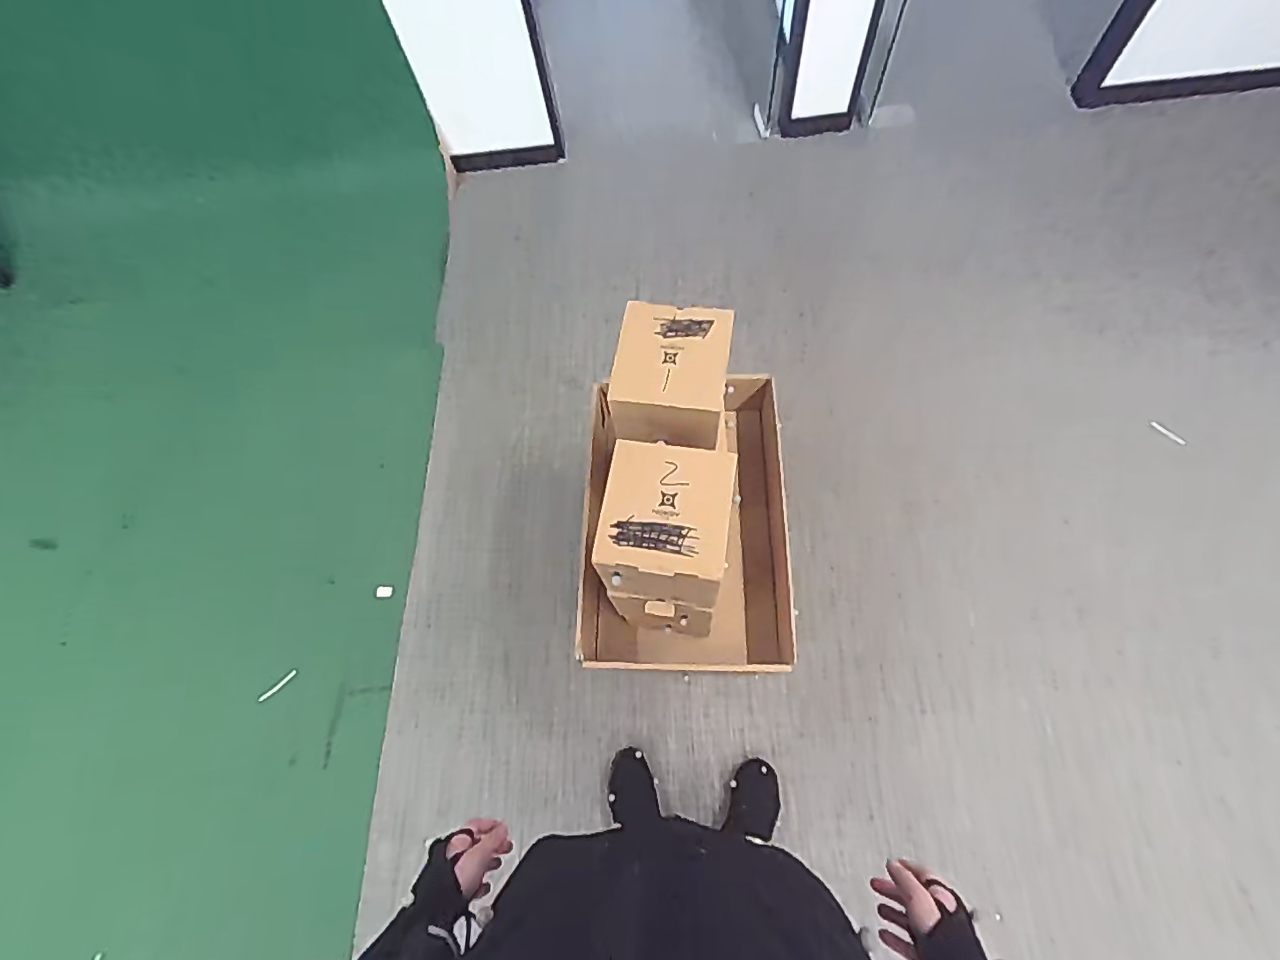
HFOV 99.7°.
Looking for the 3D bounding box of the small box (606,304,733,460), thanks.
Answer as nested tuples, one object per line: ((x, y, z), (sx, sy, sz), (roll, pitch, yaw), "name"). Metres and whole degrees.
((0.050, -0.152, 0.866), (0.168, 0.176, 0.179), (7, 69, 8), "small box")

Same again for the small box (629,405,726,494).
((0.069, -0.085, 1.015), (0.168, 0.176, 0.179), (-2, 68, 4), "small box")

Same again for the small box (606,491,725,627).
((0.049, 0.140, 0.913), (0.168, 0.176, 0.179), (8, 66, 8), "small box")
